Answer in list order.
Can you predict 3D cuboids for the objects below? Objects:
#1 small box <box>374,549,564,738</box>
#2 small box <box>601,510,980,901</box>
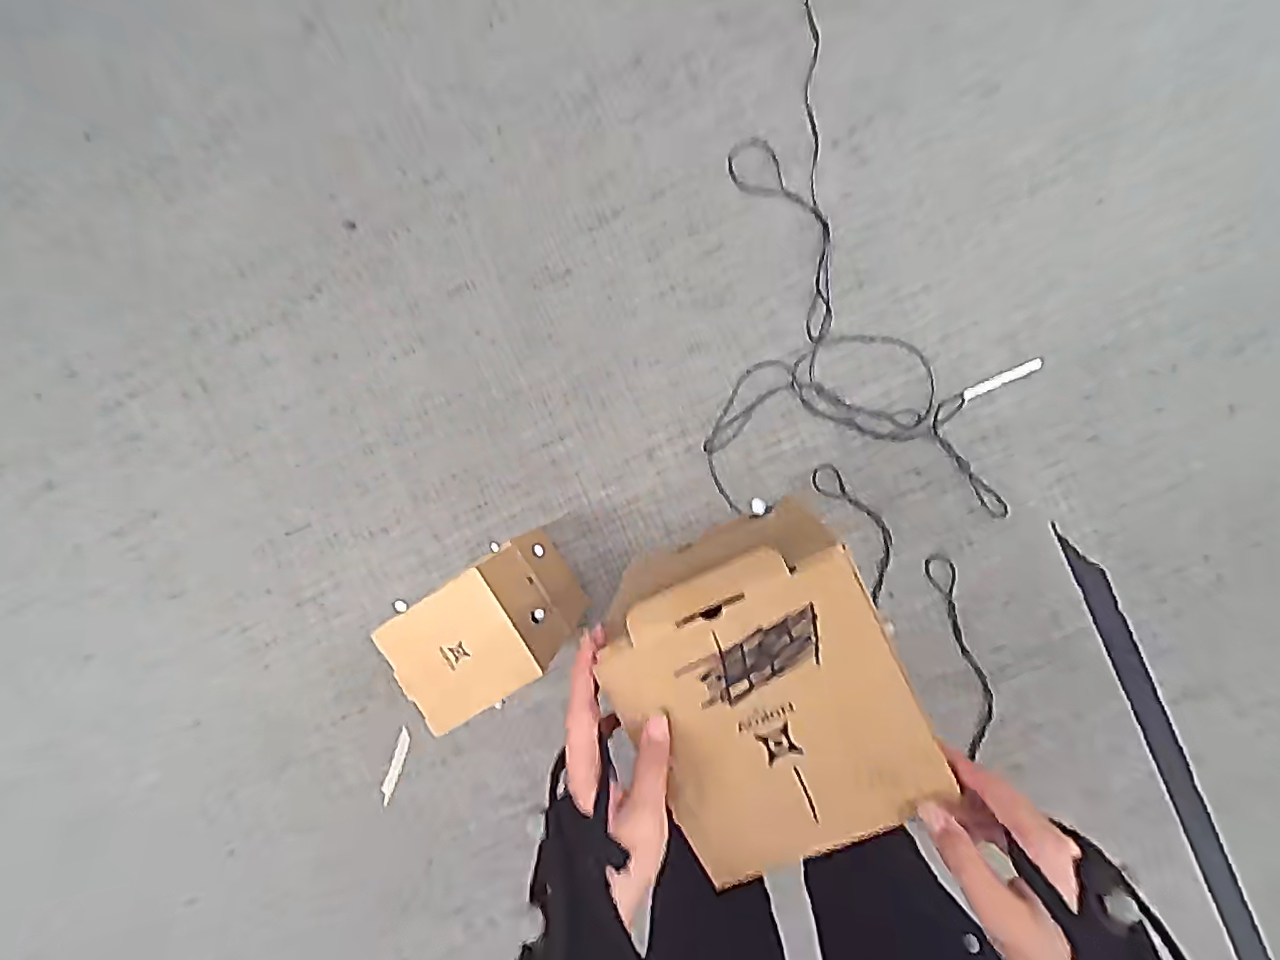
[{"bbox_3d":[-0.225,0.217,0.771,0.179,0.176,0.168,-33,90,7],"label":"small box"},{"bbox_3d":[0.091,0.134,0.388,0.168,0.176,0.179,-26,97,9],"label":"small box"}]
